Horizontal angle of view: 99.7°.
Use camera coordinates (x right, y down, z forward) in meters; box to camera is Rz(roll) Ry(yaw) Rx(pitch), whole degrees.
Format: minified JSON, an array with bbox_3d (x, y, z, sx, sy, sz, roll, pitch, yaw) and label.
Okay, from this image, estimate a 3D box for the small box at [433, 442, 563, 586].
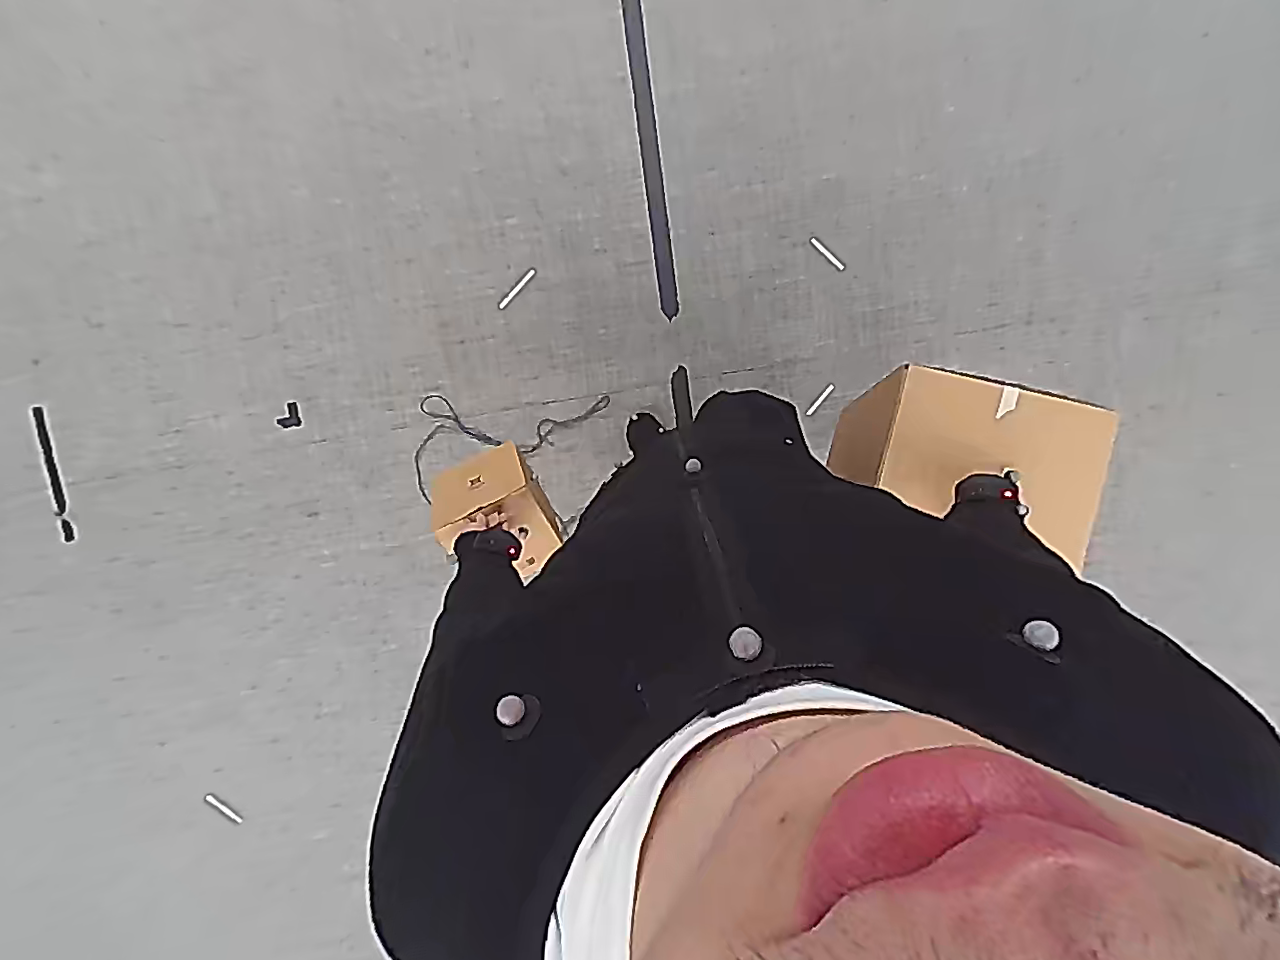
[{"bbox_3d":[-0.255,0.066,0.977,0.168,0.179,0.176,-26,125,-6],"label":"small box"}]
